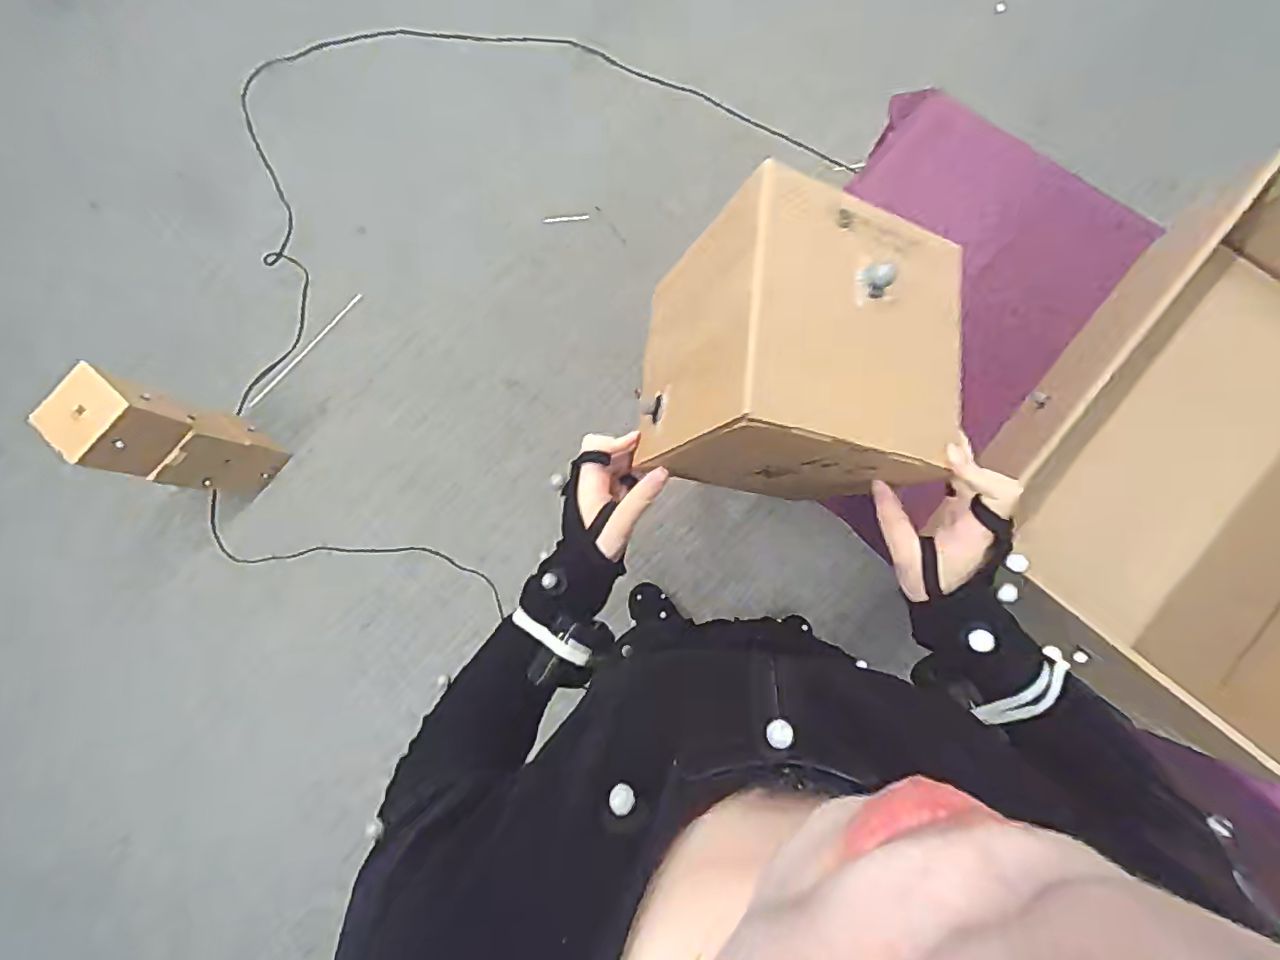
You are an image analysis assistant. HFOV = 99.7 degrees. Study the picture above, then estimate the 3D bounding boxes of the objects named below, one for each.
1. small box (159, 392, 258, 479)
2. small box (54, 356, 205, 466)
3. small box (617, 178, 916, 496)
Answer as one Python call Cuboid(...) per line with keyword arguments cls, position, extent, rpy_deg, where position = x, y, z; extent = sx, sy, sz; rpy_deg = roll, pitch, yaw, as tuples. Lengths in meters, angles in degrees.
Cuboid(cls="small box", position=(-1.177, -0.118, 1.438), extent=(0.179, 0.176, 0.168), rpy_deg=(39, 87, 10))
Cuboid(cls="small box", position=(-1.189, -0.154, 1.279), extent=(0.168, 0.176, 0.179), rpy_deg=(40, 88, 9))
Cuboid(cls="small box", position=(0.094, -0.091, 0.431), extent=(0.168, 0.179, 0.176), rpy_deg=(10, 78, -19))
